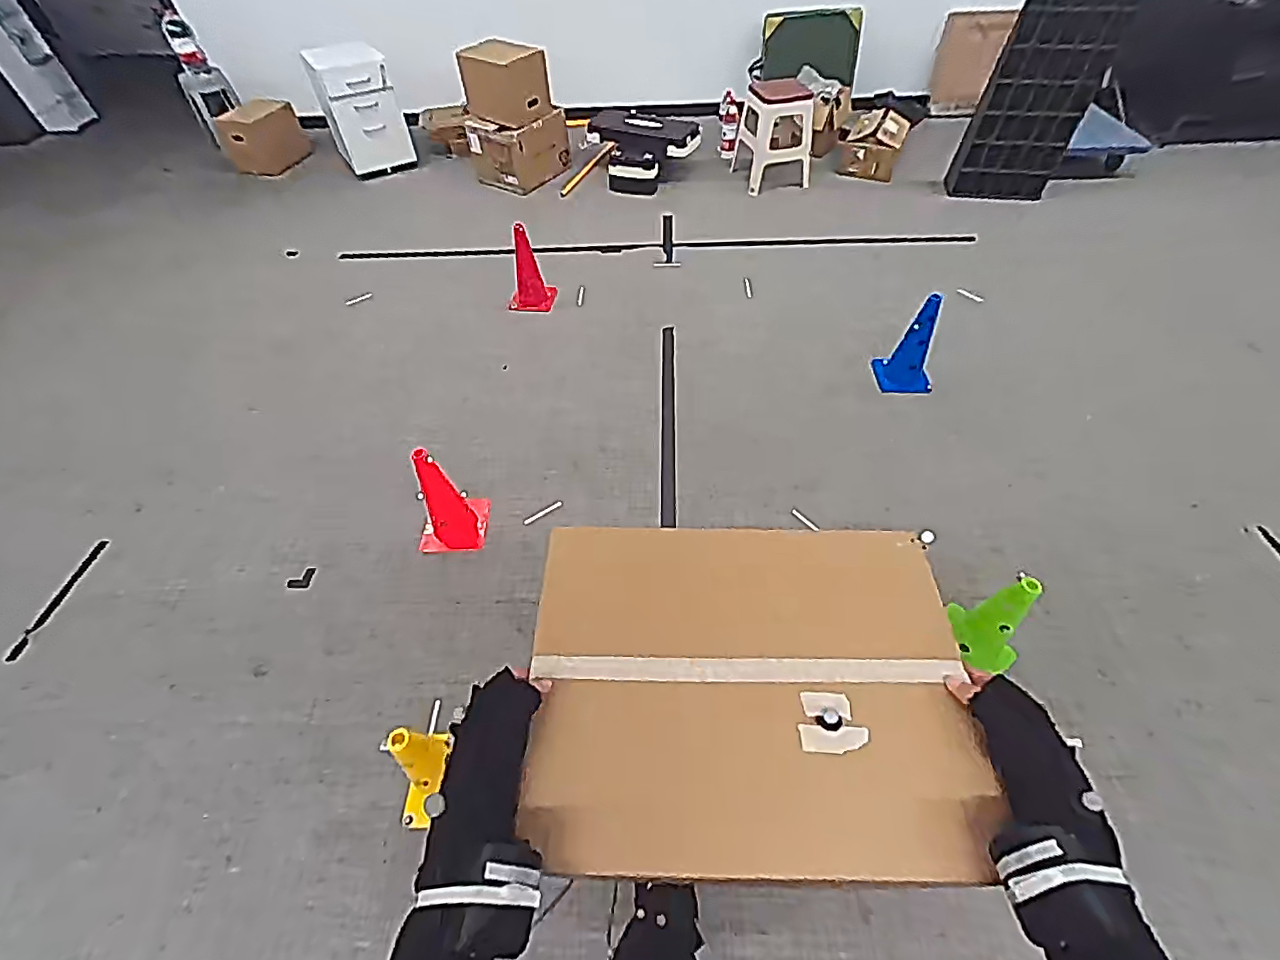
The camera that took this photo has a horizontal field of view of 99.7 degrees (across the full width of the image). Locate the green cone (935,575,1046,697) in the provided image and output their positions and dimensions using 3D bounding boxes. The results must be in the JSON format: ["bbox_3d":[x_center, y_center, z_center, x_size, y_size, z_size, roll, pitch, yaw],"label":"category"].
[{"bbox_3d":[0.871,0.343,1.319,0.202,0.368,0.200,-30,57,-22],"label":"green cone"}]

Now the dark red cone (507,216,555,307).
[{"bbox_3d":[-0.514,-0.978,2.425,0.201,0.394,0.202,5,52,5],"label":"dark red cone"}]

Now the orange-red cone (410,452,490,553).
[{"bbox_3d":[-0.606,0.047,1.629,0.198,0.360,0.199,-3,52,1],"label":"orange-red cone"}]

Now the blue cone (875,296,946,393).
[{"bbox_3d":[1.044,-0.518,2.033,0.192,0.380,0.193,3,51,3],"label":"blue cone"}]

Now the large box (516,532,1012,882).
[{"bbox_3d":[0.098,0.272,0.634,0.408,0.320,0.320,1,53,1],"label":"large box"}]
